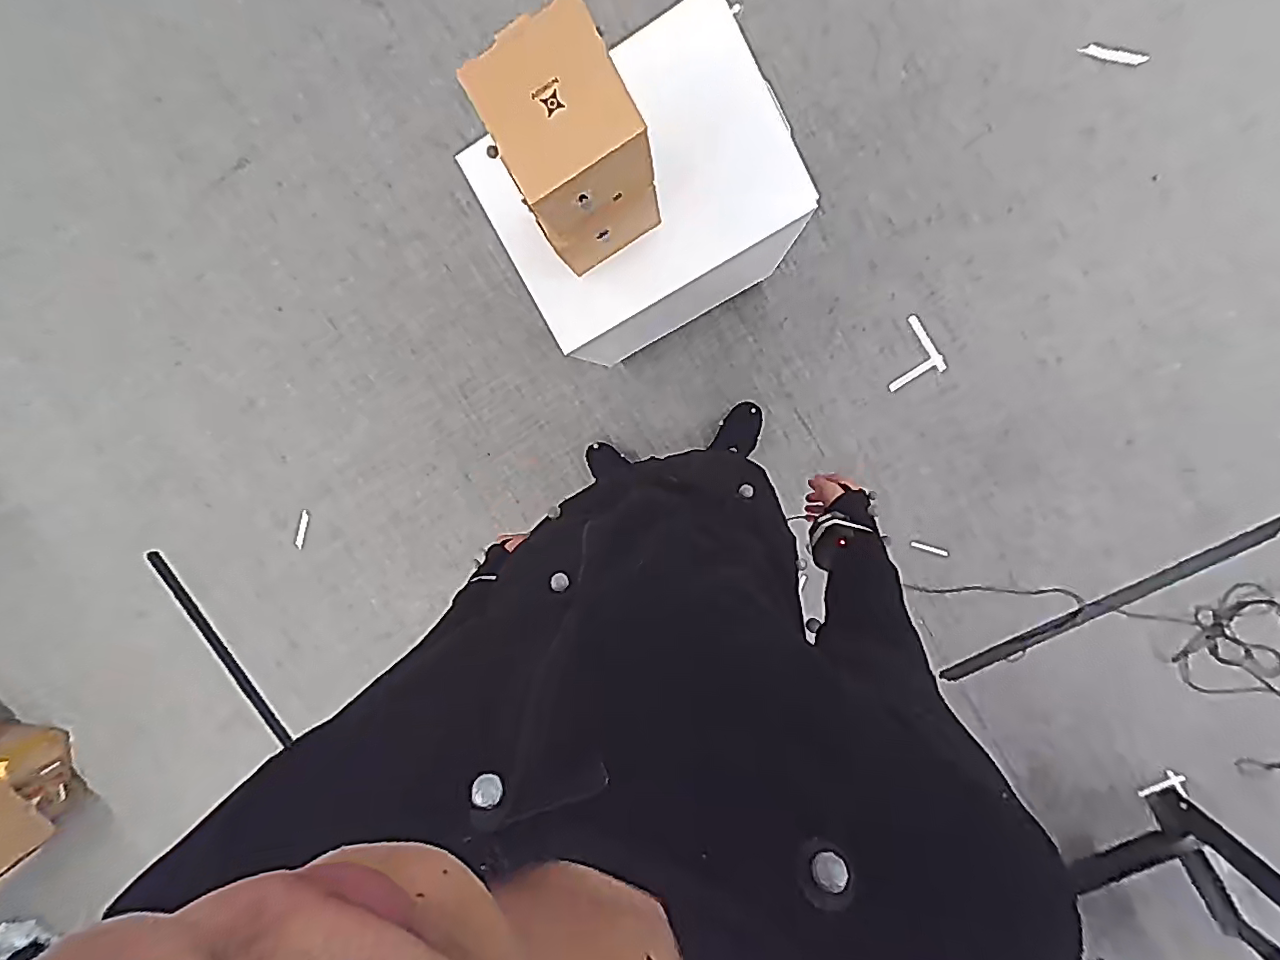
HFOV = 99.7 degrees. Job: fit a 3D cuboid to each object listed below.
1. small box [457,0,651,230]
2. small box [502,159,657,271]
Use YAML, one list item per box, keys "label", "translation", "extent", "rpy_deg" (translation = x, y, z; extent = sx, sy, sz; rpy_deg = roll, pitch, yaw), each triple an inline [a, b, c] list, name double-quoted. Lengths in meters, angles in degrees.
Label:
- label: "small box"
  translation: [-0.097, -0.455, 0.709]
  extent: [0.168, 0.176, 0.179]
  rpy_deg: [-29, 95, 9]
- label: "small box"
  translation: [-0.086, -0.465, 0.871]
  extent: [0.179, 0.176, 0.168]
  rpy_deg: [-30, 96, 8]
